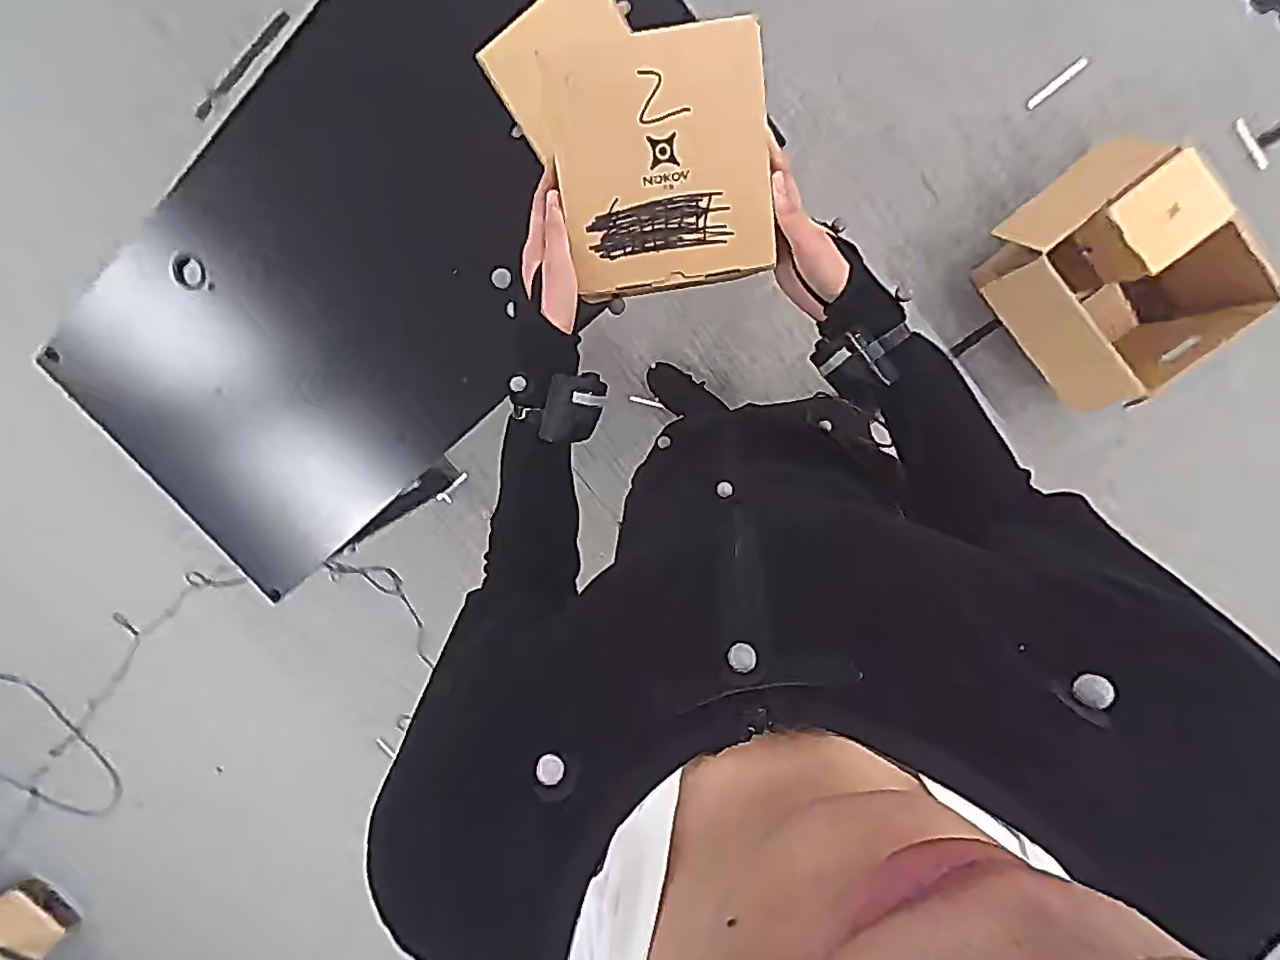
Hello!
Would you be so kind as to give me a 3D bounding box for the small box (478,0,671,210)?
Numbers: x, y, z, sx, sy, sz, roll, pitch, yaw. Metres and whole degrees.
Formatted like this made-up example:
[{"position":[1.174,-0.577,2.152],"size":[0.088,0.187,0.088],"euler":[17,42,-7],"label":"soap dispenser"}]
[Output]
[{"position":[-0.073,-0.492,0.710],"size":[0.168,0.176,0.179],"euler":[-31,99,13],"label":"small box"}]
